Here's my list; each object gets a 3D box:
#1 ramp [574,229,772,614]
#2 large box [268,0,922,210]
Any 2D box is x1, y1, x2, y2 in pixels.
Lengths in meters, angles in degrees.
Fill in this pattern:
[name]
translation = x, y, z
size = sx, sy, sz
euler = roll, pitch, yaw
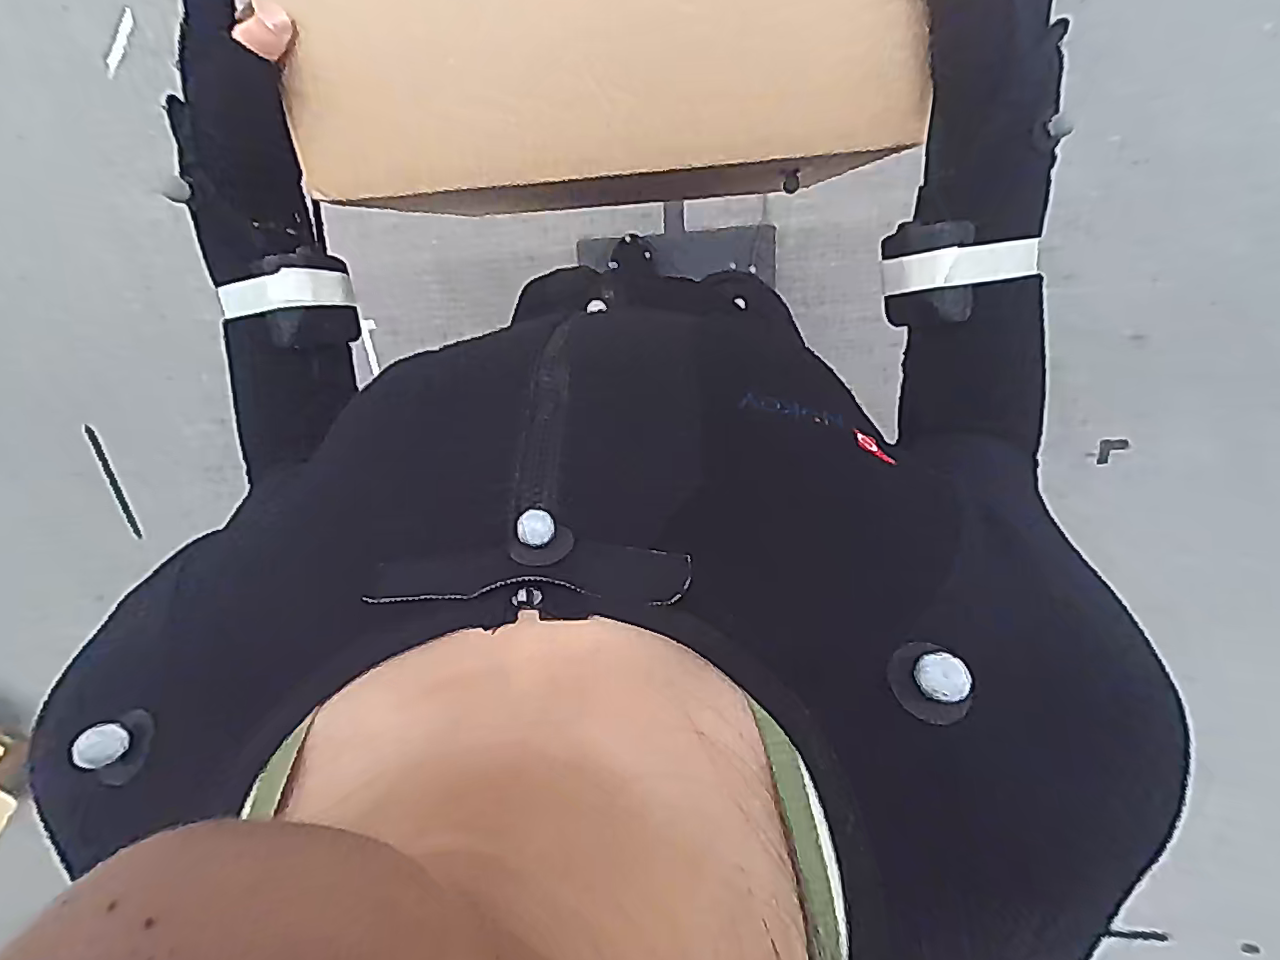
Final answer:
[ramp]
translation = 0.097, -0.116, 1.436
size = 0.509, 0.206, 0.991
euler = -3, 110, 7
[large box]
translation = -0.028, -0.410, 0.438
size = 0.408, 0.320, 0.320
euler = -3, 114, 4
